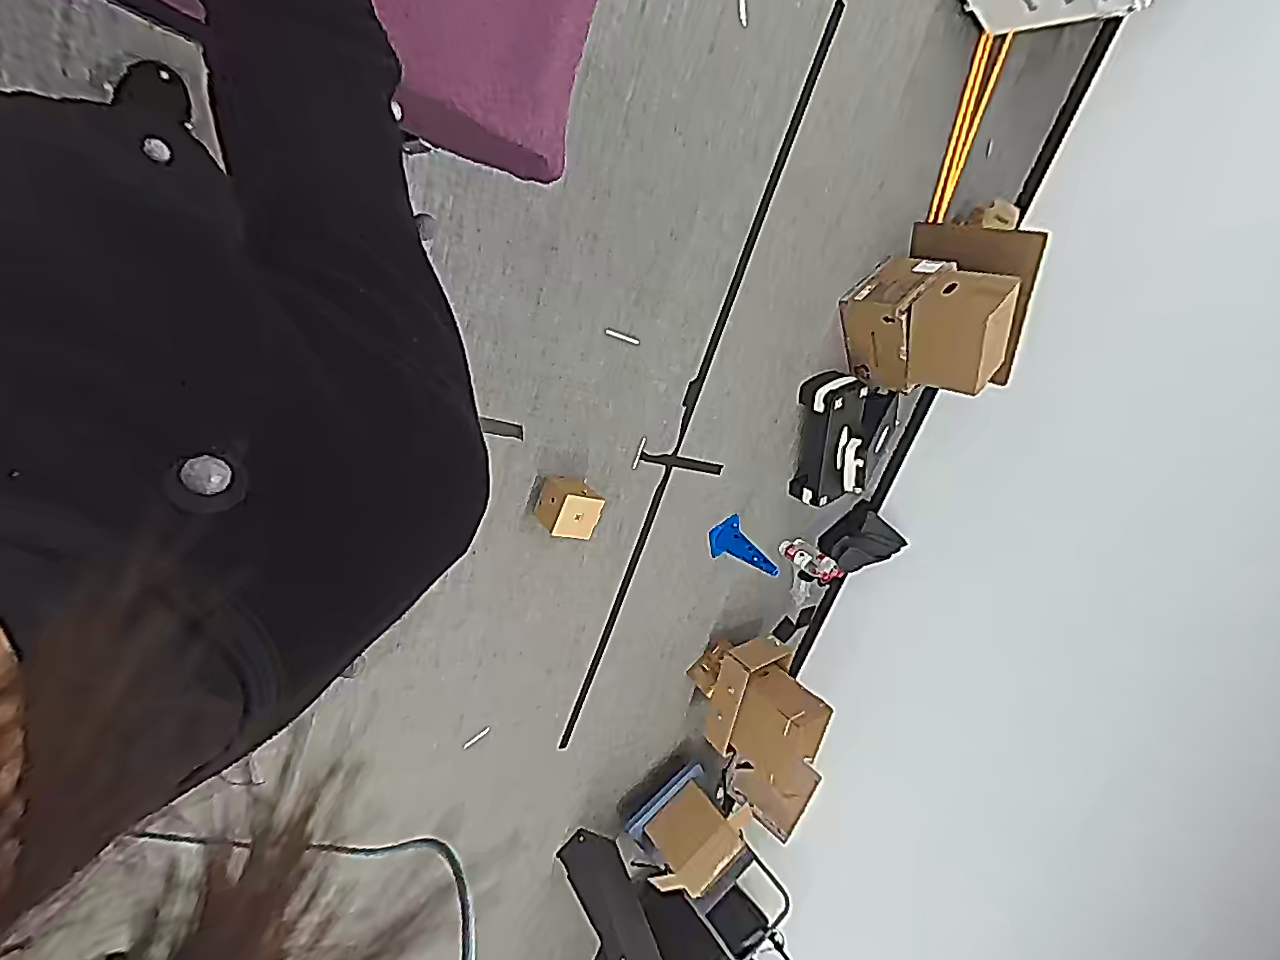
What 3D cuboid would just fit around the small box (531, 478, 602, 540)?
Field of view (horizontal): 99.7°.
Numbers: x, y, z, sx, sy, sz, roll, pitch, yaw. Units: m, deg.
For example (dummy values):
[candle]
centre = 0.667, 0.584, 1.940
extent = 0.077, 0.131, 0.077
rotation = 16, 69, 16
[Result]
[small box]
centre = -0.277, 0.104, 2.002
extent = 0.179, 0.176, 0.168
rotation = 12, 106, -43
